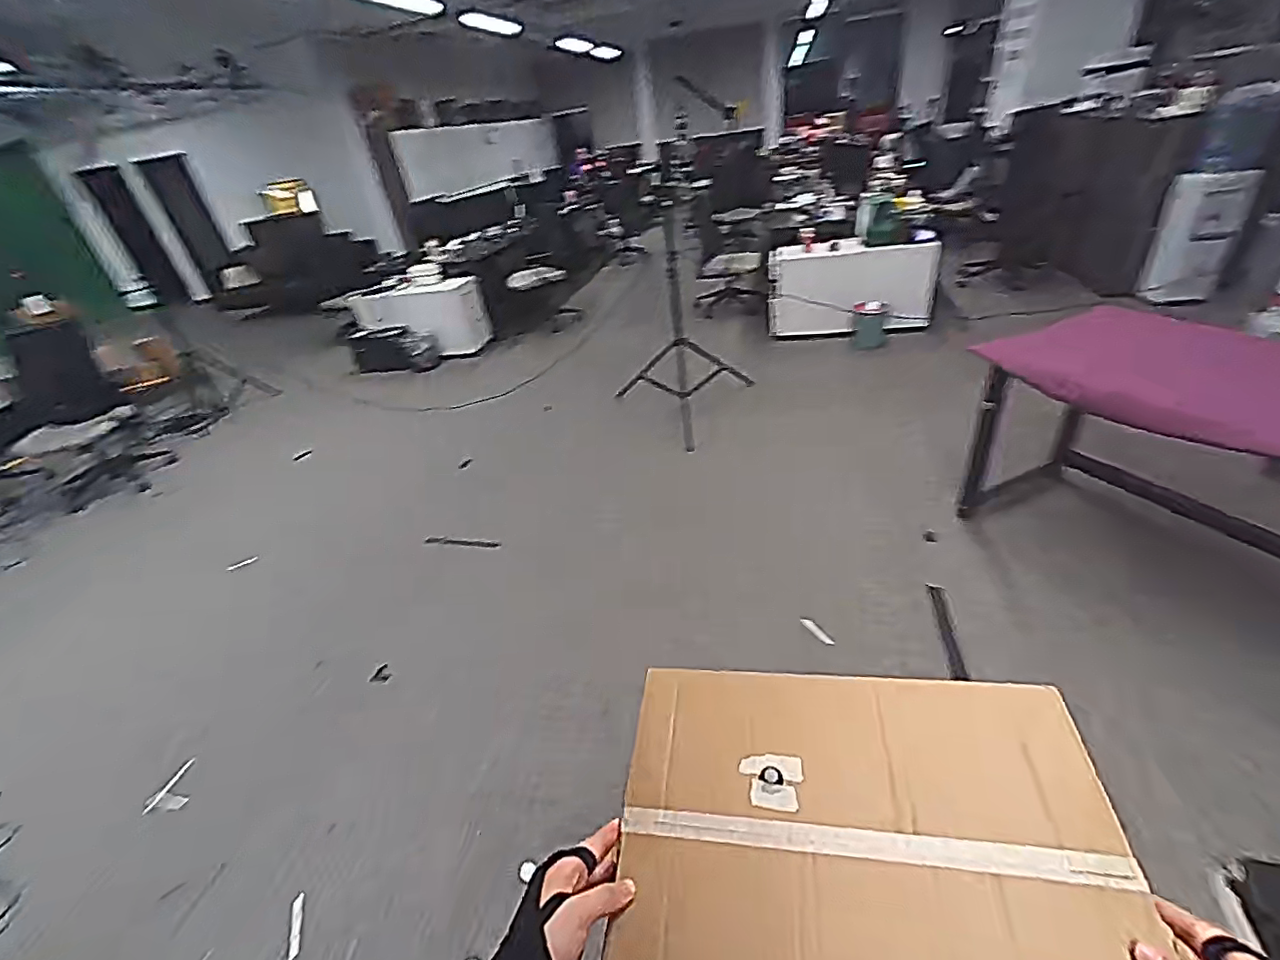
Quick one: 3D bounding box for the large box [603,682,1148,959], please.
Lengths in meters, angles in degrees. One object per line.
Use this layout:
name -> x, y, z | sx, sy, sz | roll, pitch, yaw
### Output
large box -> 0.205, 0.430, 0.558 | 0.408, 0.320, 0.320 | -4, 38, 13
